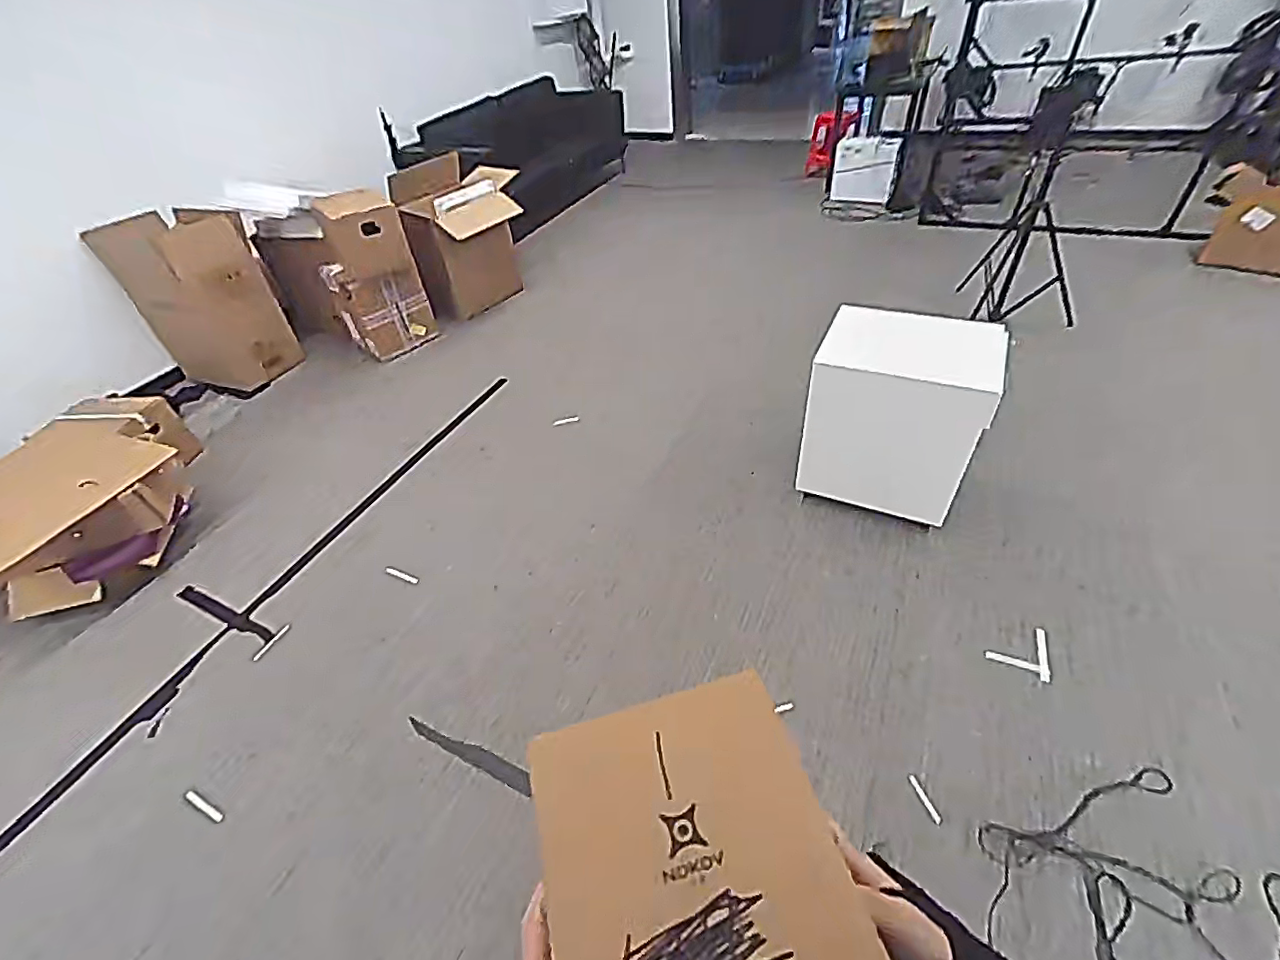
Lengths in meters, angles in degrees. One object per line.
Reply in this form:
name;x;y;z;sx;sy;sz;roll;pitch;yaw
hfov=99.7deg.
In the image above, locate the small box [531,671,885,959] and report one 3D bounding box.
small box;0.033;0.265;0.366;0.168;0.176;0.179;-14;45;-8
